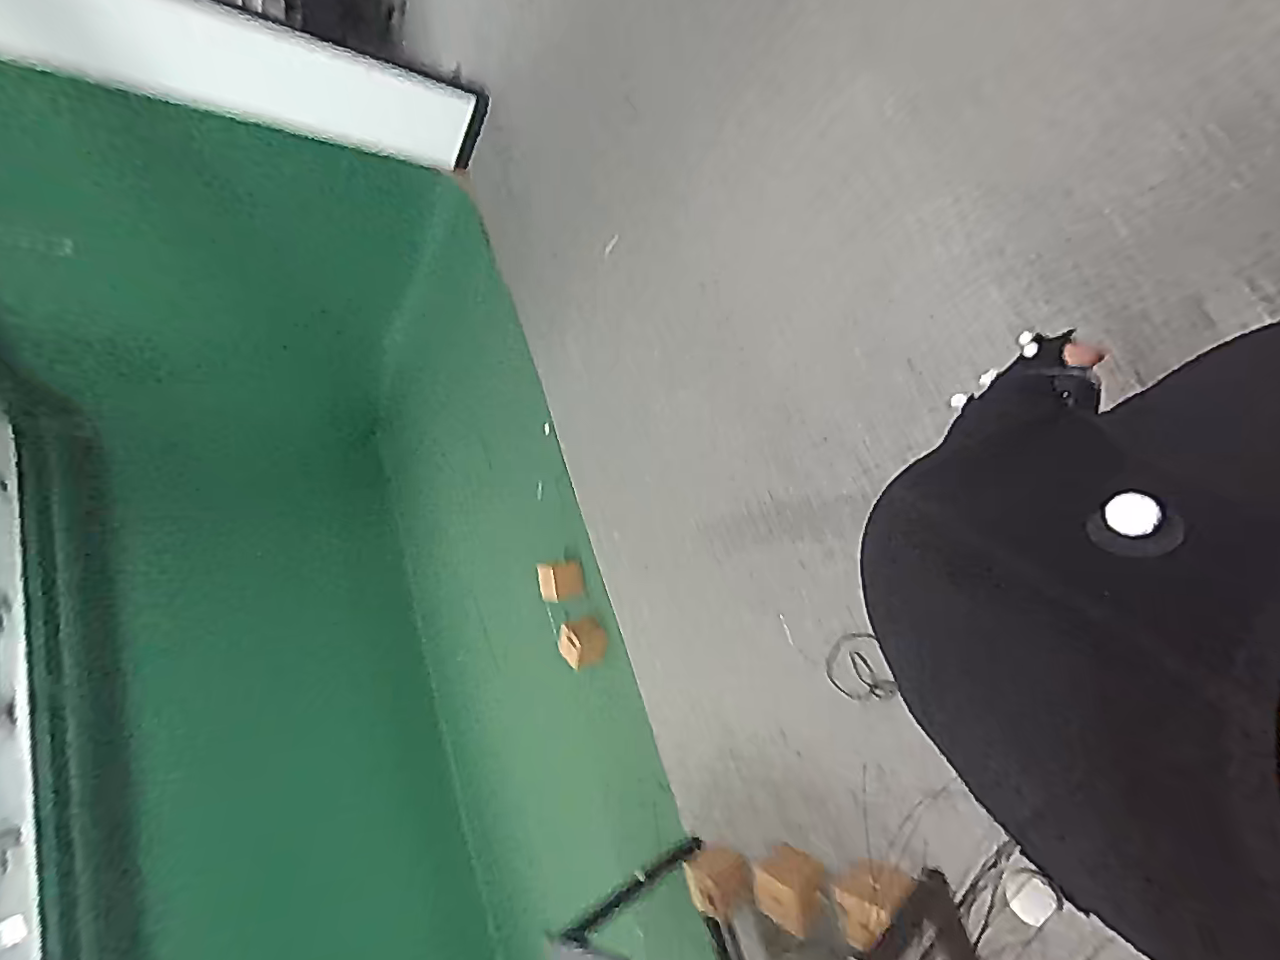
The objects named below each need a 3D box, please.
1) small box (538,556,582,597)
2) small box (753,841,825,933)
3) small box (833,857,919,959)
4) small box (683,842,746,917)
[{"bbox_3d":[-0.423,0.512,2.877,0.168,0.176,0.179,-6,91,50],"label":"small box"},{"bbox_3d":[0.520,1.406,1.888,0.179,0.176,0.168,-5,93,49],"label":"small box"},{"bbox_3d":[0.718,1.284,1.631,0.179,0.176,0.168,-17,82,49],"label":"small box"},{"bbox_3d":[0.306,1.598,2.176,0.179,0.176,0.168,-28,74,50],"label":"small box"}]
